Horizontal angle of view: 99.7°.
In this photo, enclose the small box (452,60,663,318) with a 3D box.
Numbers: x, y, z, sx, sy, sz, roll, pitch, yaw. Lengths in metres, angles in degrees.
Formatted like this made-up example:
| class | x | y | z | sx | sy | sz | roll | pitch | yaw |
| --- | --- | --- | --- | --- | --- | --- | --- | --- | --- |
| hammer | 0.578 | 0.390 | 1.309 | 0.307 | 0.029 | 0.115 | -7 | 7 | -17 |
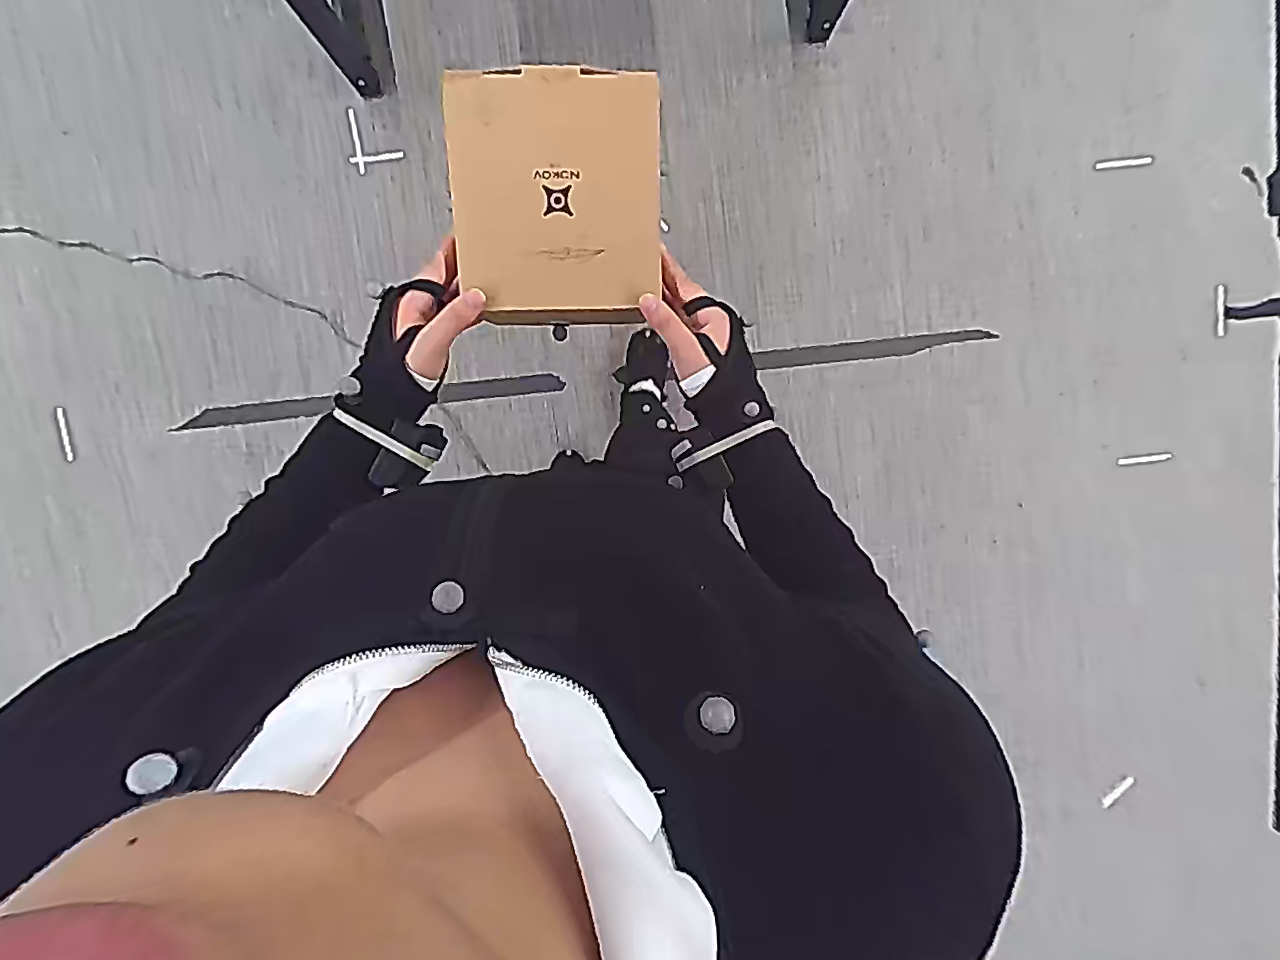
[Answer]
| class | x | y | z | sx | sy | sz | roll | pitch | yaw |
| --- | --- | --- | --- | --- | --- | --- | --- | --- | --- |
| small box | -0.069 | -0.252 | 0.511 | 0.168 | 0.176 | 0.179 | -2 | 102 | -4 |
